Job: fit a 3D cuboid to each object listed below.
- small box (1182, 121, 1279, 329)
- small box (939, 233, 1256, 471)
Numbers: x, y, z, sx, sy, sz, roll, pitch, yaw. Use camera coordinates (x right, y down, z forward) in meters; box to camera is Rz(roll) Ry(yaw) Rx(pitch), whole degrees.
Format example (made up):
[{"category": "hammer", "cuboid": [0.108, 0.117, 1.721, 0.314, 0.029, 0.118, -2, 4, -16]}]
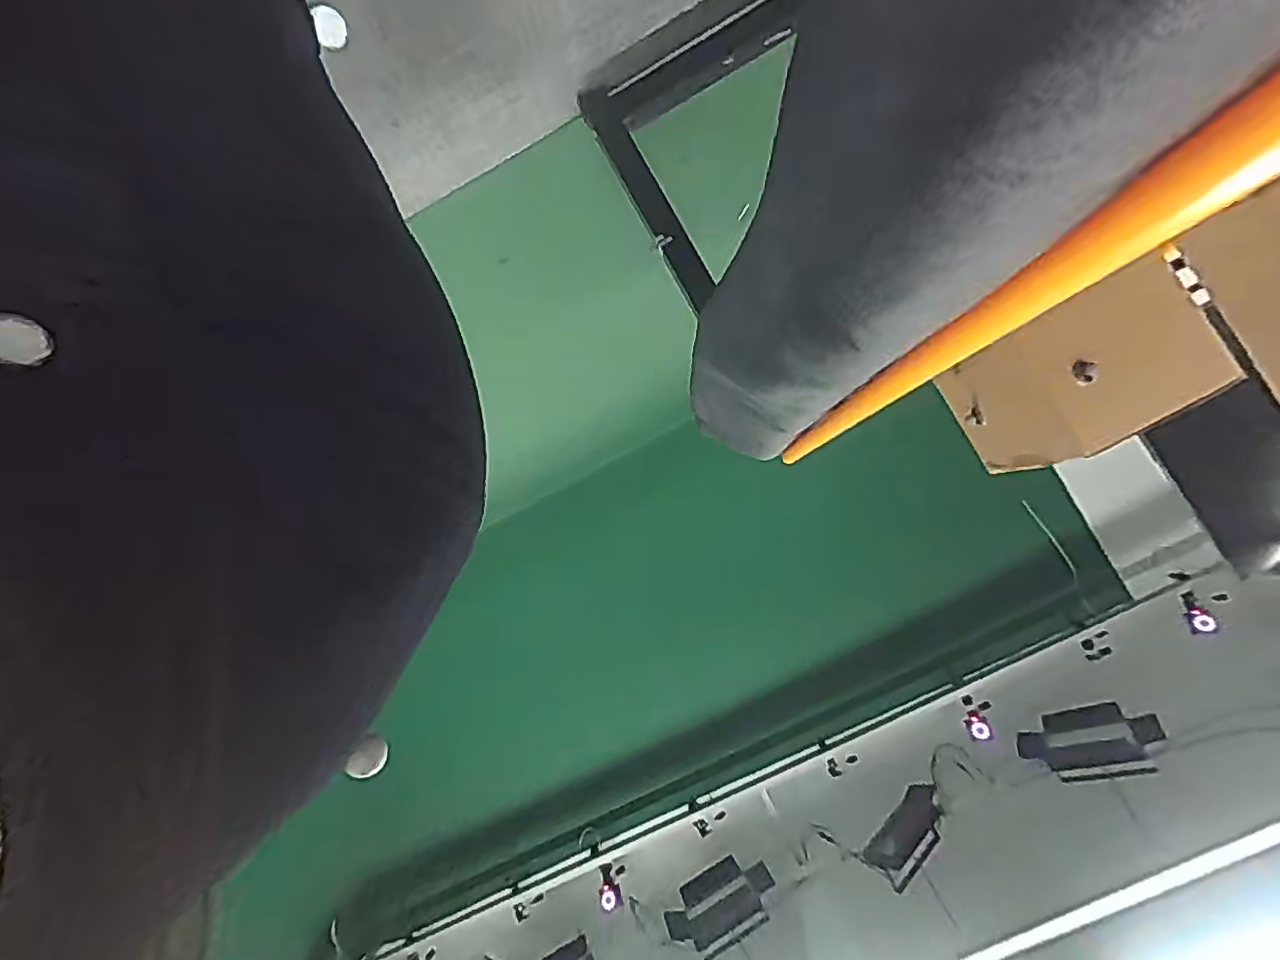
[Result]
[{"category": "small box", "cuboid": [0.432, -0.152, 0.247, 0.179, 0.176, 0.168, -30, 172, 8]}, {"category": "small box", "cuboid": [0.480, -0.130, 0.603, 0.179, 0.176, 0.168, -30, 175, 2]}]
